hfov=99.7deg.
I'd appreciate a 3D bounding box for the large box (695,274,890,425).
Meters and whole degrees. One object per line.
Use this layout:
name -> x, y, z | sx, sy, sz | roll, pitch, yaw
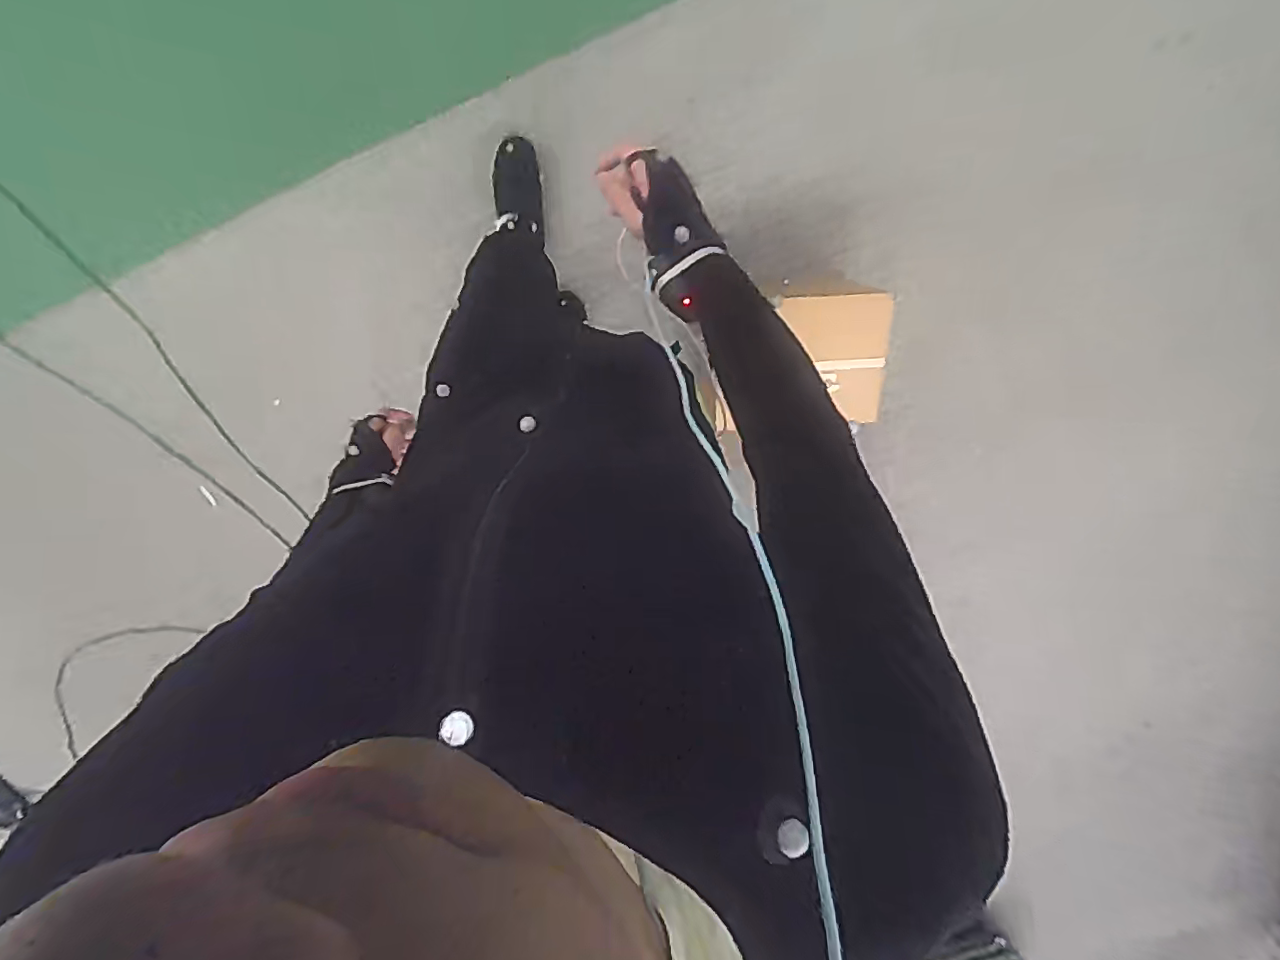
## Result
large box -> 0.362, -0.349, 1.402 | 0.408, 0.320, 0.320 | -3, 117, -1
